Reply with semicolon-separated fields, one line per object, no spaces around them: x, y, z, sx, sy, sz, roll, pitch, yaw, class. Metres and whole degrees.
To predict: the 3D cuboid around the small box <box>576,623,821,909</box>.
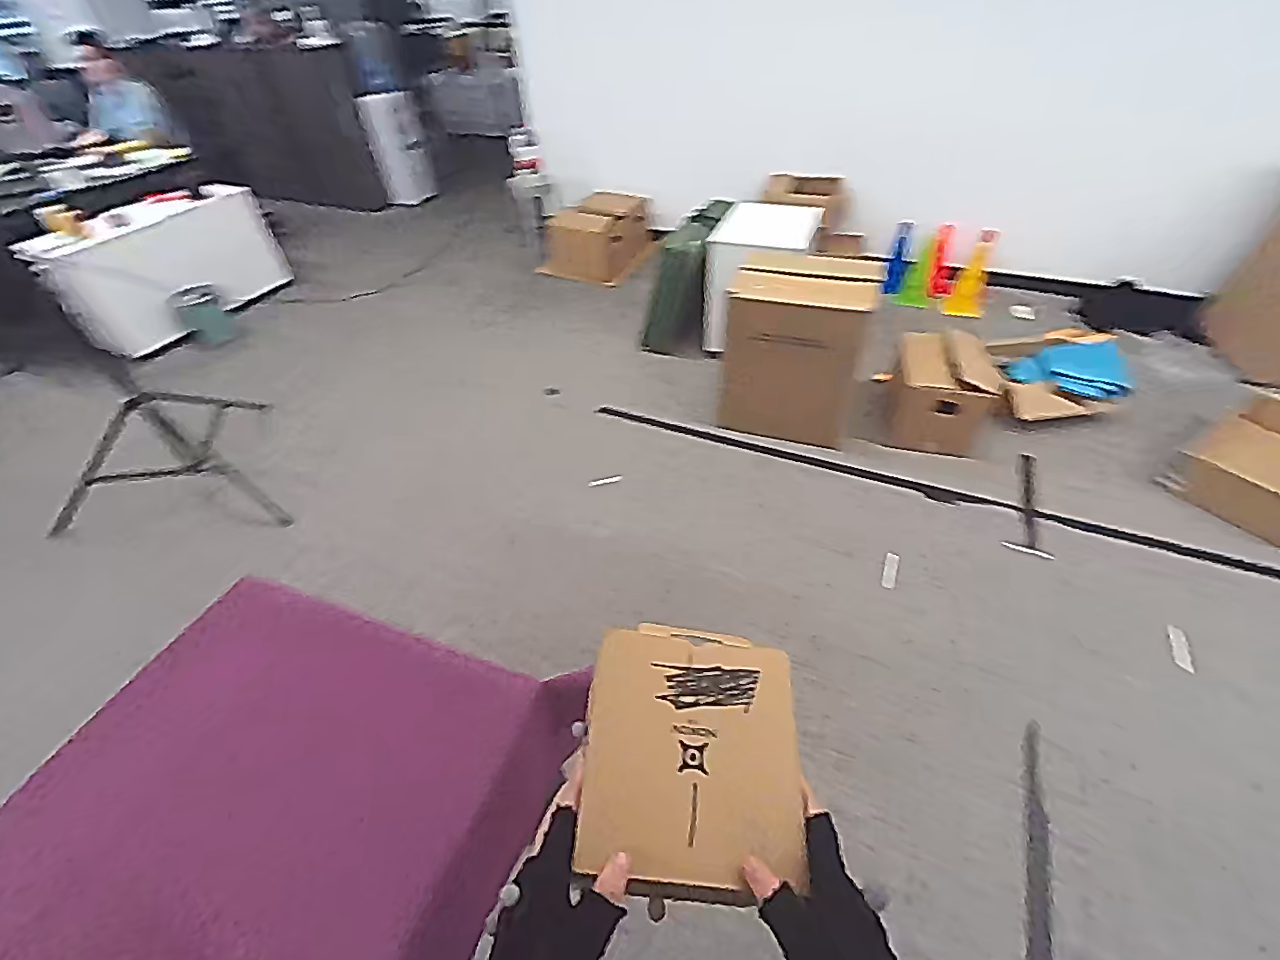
0.038;0.251;0.471;0.168;0.176;0.179;8;49;-2;small box
